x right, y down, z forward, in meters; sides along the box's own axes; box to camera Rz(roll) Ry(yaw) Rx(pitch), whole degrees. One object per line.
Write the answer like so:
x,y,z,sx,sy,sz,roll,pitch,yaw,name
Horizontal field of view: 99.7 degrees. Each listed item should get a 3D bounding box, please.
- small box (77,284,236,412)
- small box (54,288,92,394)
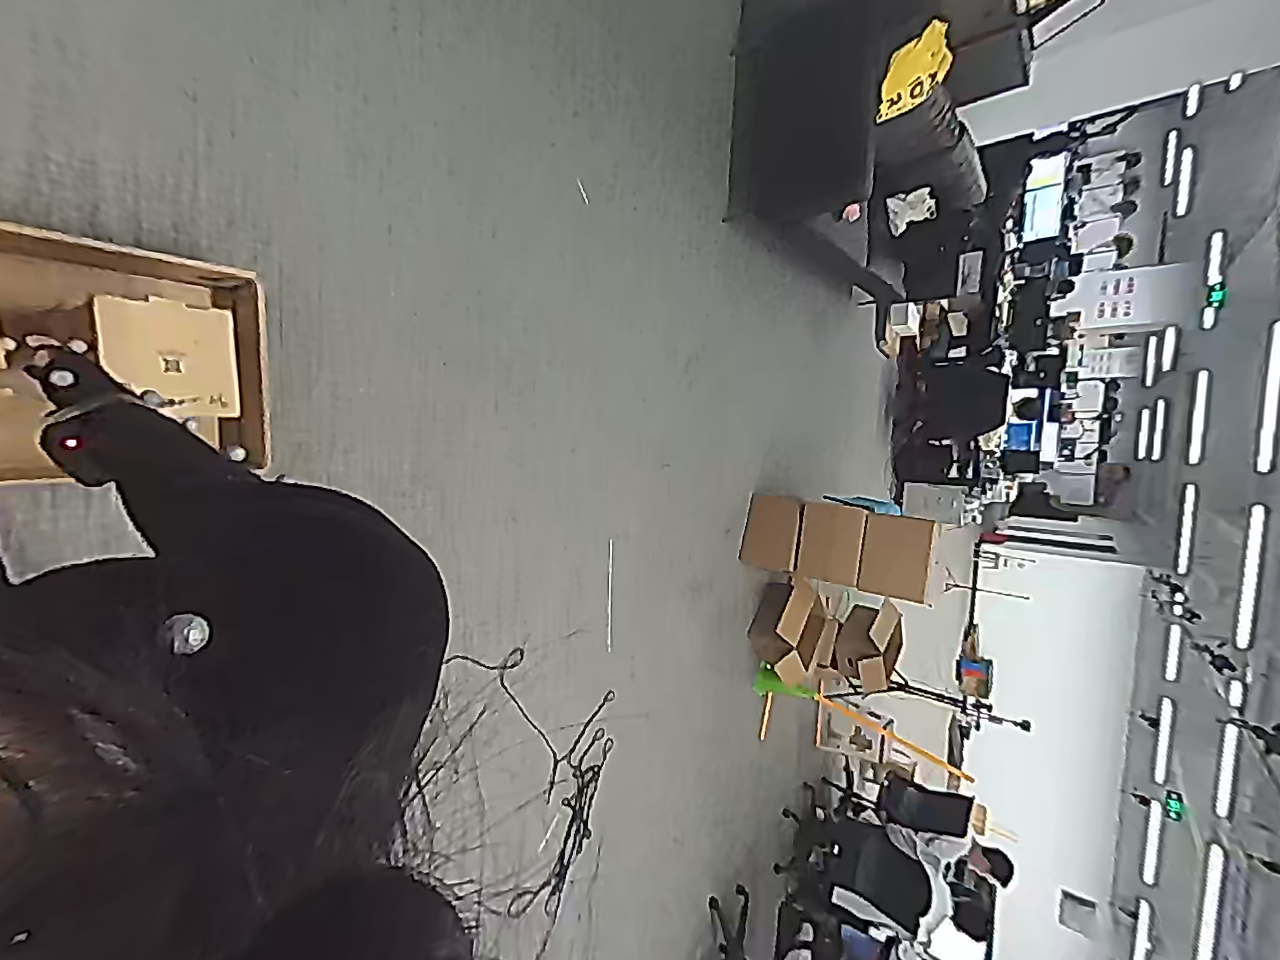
-0.787,-0.203,0.881,0.168,0.176,0.179,-7,100,-50,small box
-0.918,-0.240,0.975,0.179,0.176,0.168,-13,106,-50,small box
